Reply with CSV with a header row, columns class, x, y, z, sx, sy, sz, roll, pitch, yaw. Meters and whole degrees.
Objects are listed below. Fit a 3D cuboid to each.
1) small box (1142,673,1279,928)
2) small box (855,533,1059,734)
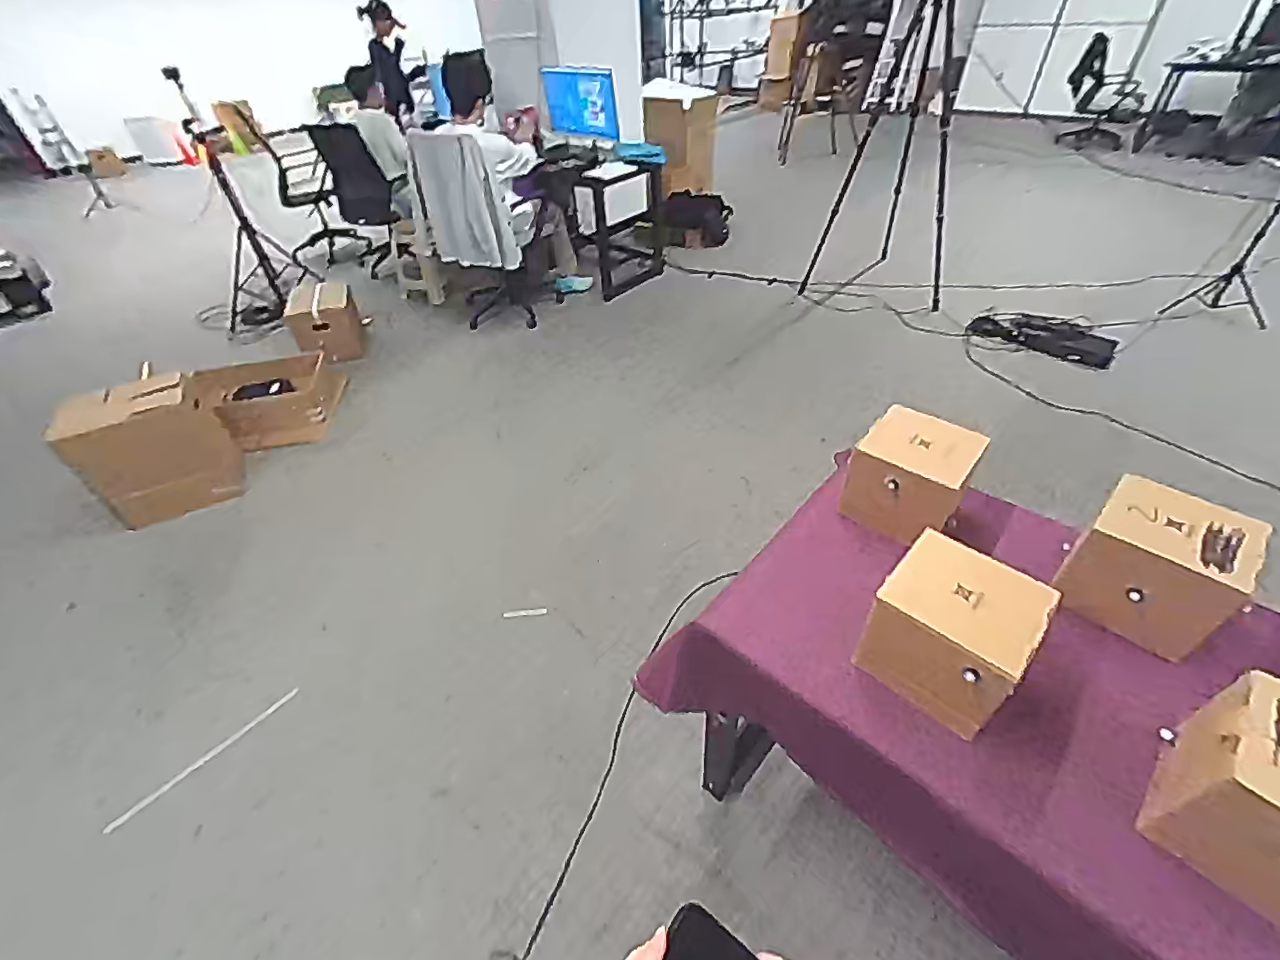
class,x,y,z,sx,sy,sz,roll,pitch,yaw
small box,0.699,0.354,0.577,0.168,0.176,0.179,-34,51,-29
small box,0.431,0.214,0.759,0.179,0.176,0.168,32,53,32
